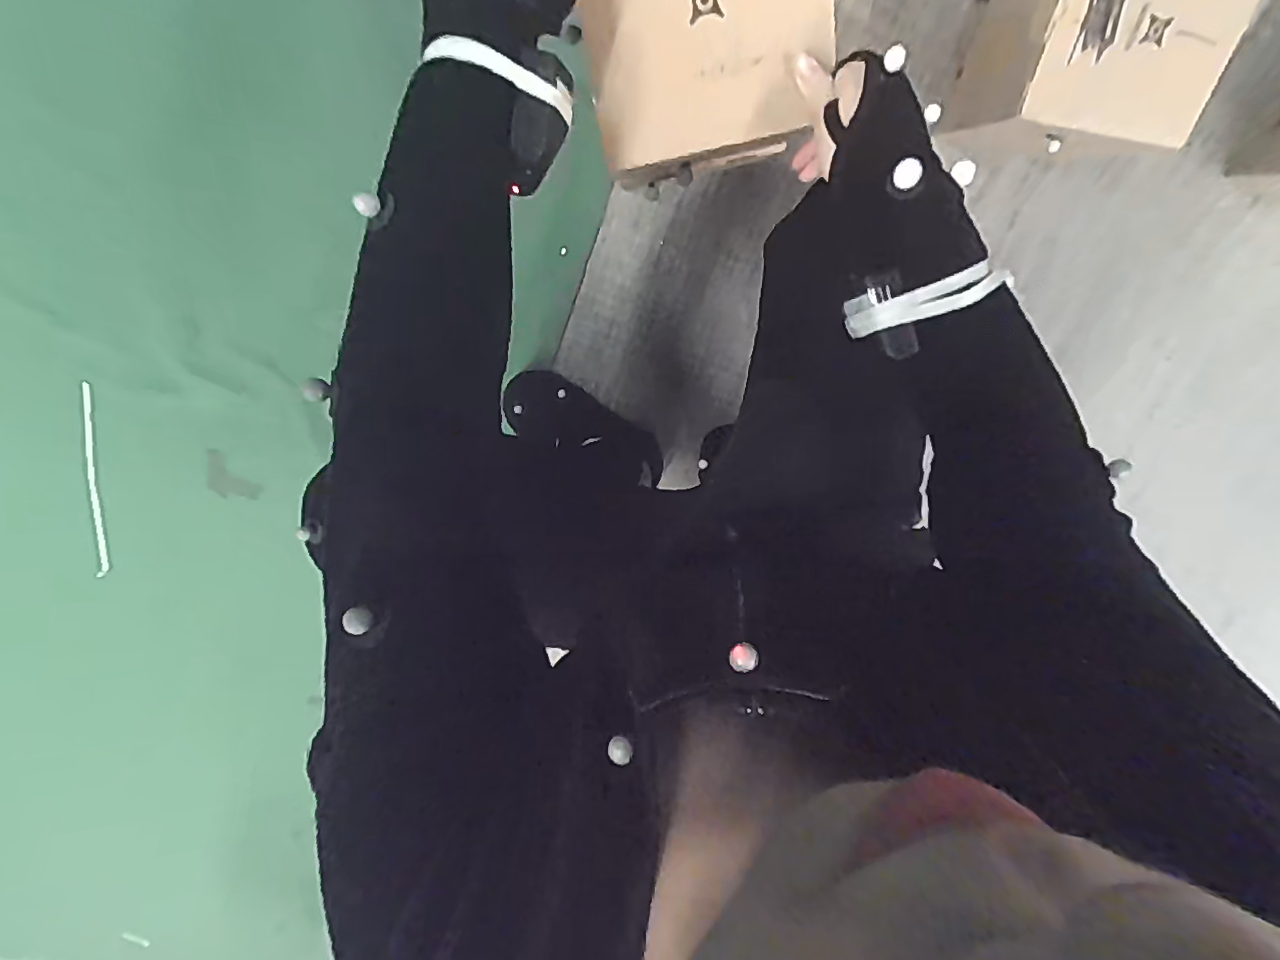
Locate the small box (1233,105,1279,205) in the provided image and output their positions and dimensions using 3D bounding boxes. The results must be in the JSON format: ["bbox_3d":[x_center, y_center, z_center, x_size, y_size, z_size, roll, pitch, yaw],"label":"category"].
[{"bbox_3d":[0.845,-0.386,0.587,0.179,0.176,0.168,19,115,-9],"label":"small box"}]

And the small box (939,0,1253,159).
[{"bbox_3d":[0.452,-0.442,0.558,0.179,0.176,0.168,7,117,-4],"label":"small box"}]

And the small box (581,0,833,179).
[{"bbox_3d":[0.042,-0.353,0.424,0.168,0.176,0.179,-10,116,5],"label":"small box"}]
